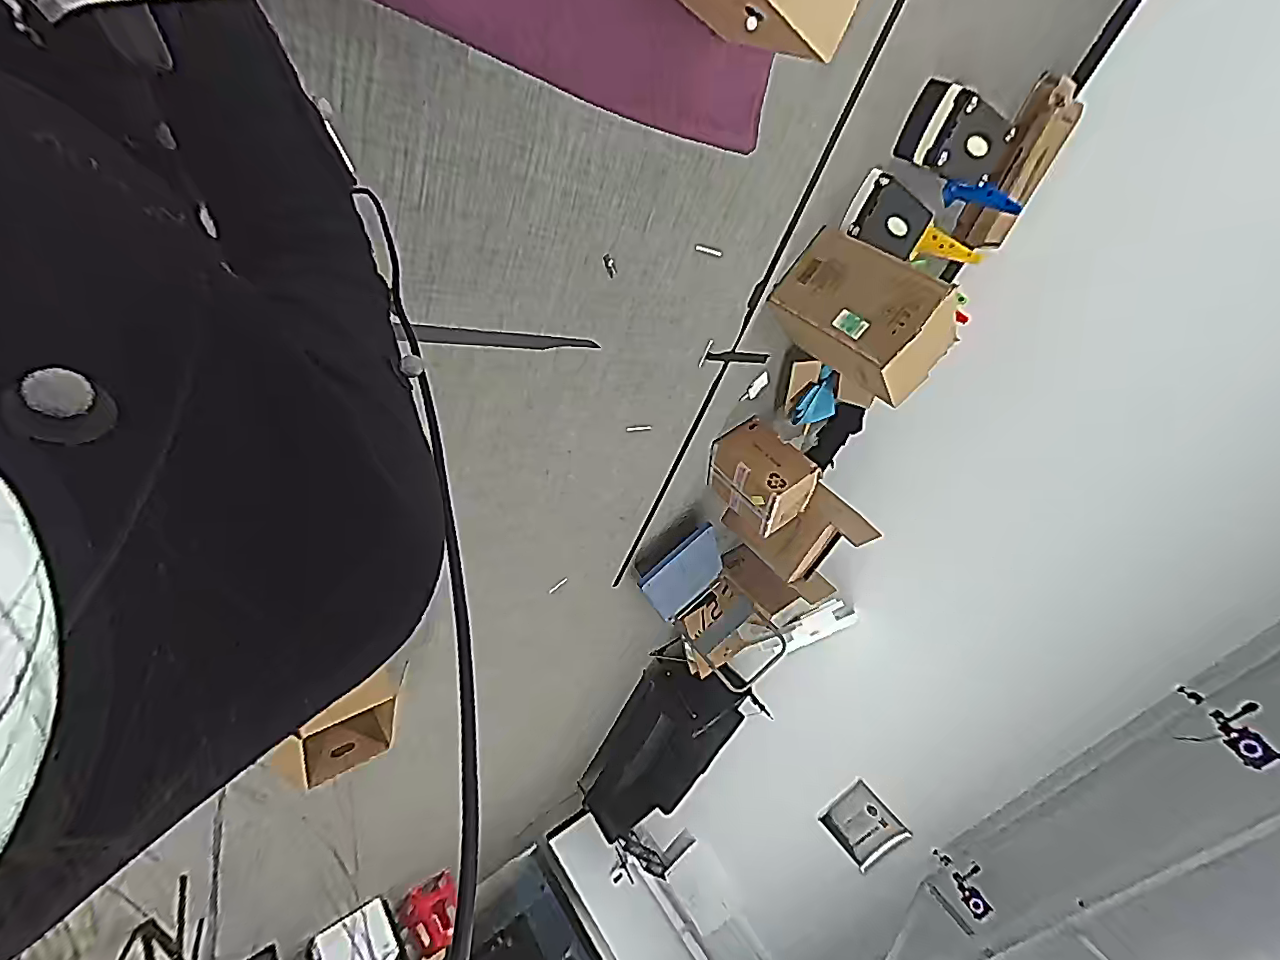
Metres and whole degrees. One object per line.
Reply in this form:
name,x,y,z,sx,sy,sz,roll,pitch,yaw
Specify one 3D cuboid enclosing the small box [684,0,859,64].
small box,0.132,-0.569,0.550,0.179,0.176,0.168,-9,133,-47
